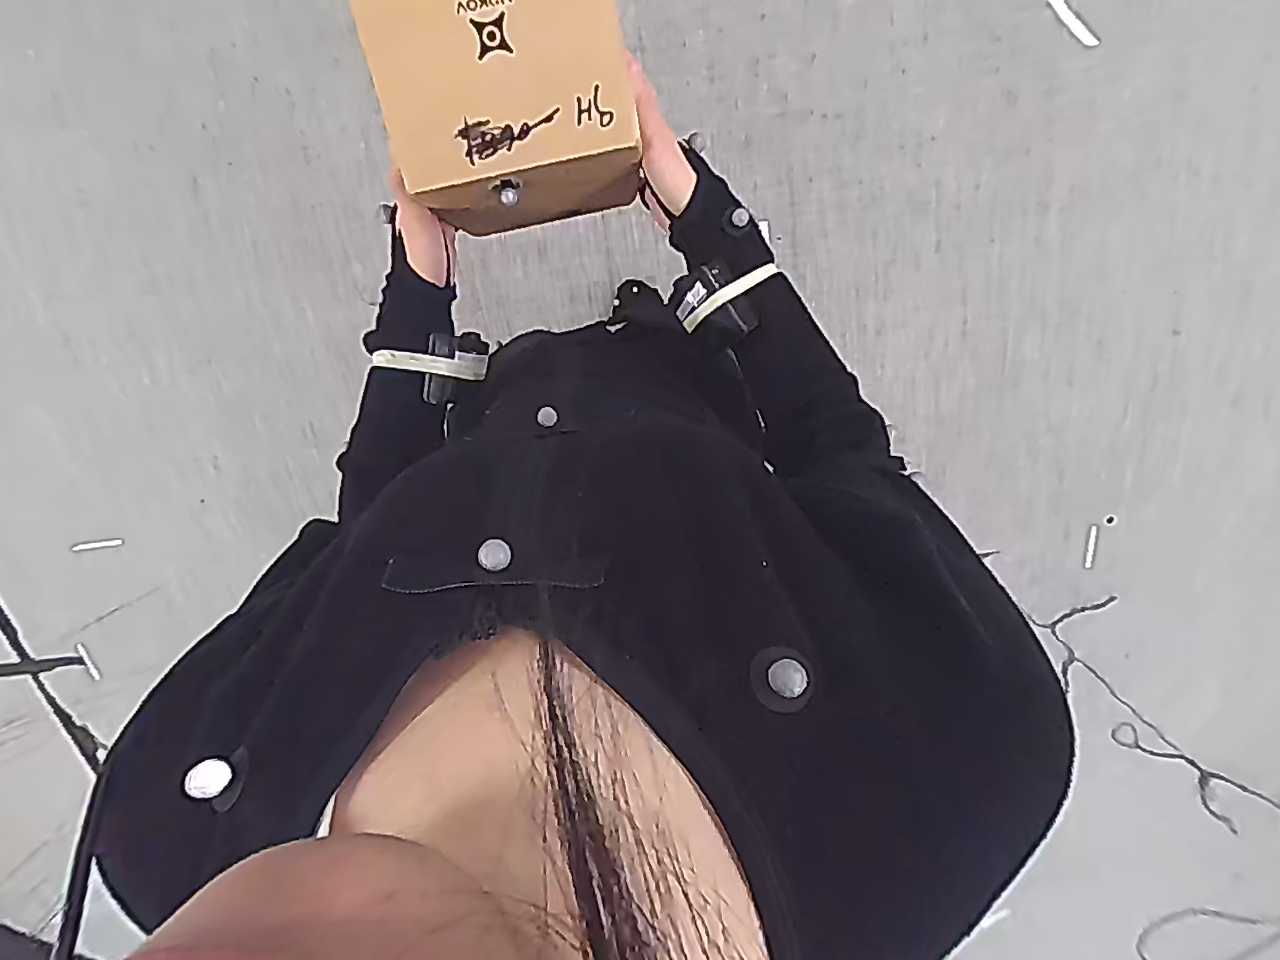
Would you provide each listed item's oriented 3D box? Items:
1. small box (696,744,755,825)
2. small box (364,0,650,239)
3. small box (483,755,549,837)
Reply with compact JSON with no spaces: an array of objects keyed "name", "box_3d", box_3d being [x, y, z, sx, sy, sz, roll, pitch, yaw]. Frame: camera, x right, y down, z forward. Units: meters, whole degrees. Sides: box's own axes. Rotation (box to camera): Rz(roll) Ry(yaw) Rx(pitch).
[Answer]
[{"name":"small box","box_3d":[0.280,0.996,1.786,0.168,0.176,0.179,-7,110,2]},{"name":"small box","box_3d":[-0.092,-0.309,0.422,0.168,0.176,0.179,-12,105,1]},{"name":"small box","box_3d":[-0.410,1.047,1.802,0.179,0.176,0.168,8,108,-4]}]
